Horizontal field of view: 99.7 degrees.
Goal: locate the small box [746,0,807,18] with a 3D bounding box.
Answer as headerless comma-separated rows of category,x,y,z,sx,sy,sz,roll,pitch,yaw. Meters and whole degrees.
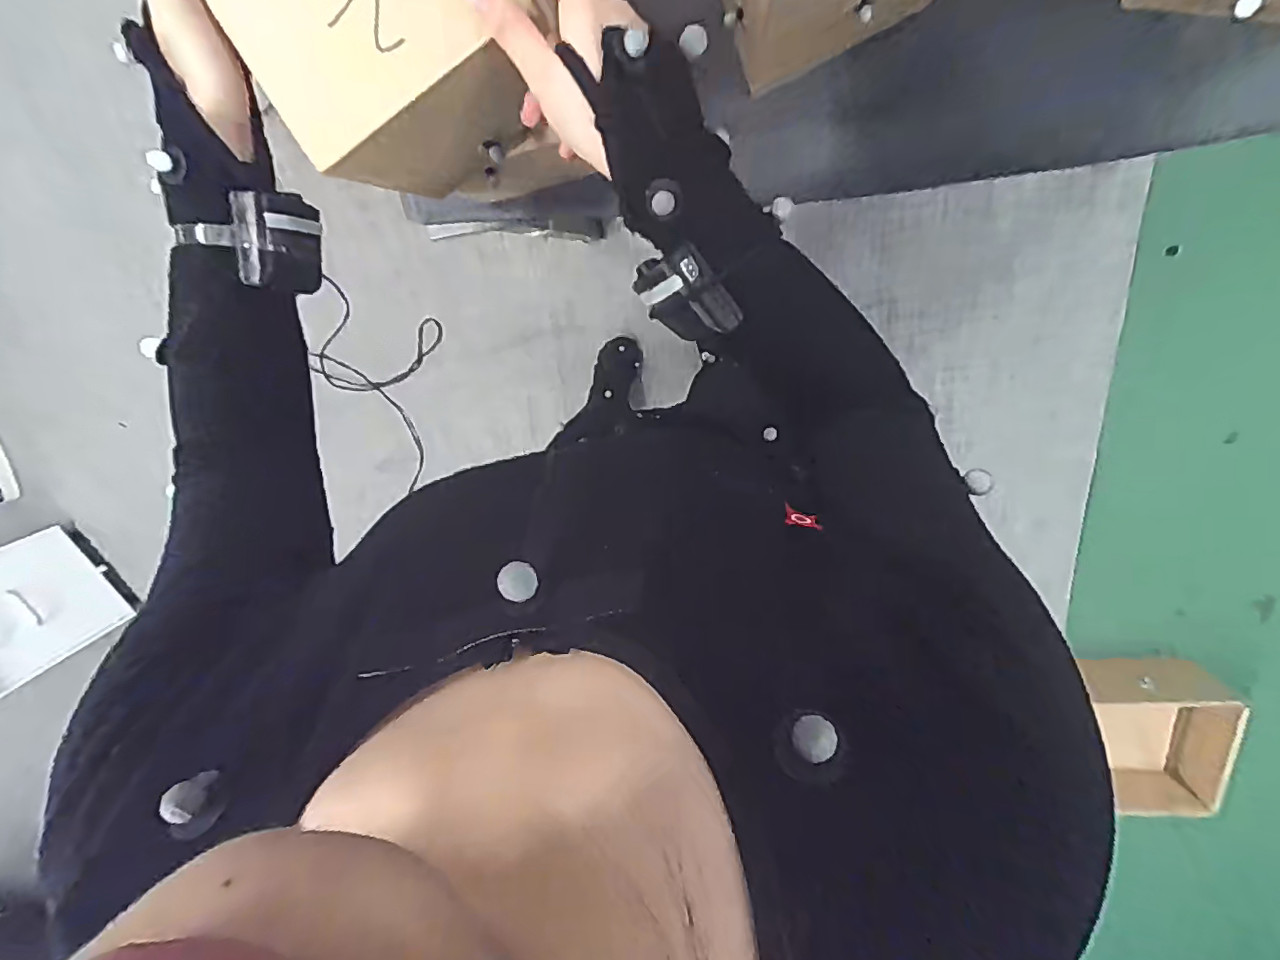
small box,0.124,-0.412,0.297,0.179,0.176,0.168,-18,109,15

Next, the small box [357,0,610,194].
small box,-0.136,-0.398,0.522,0.168,0.176,0.179,-9,111,12

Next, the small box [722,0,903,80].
small box,0.146,-0.478,0.447,0.179,0.176,0.168,-20,108,15
